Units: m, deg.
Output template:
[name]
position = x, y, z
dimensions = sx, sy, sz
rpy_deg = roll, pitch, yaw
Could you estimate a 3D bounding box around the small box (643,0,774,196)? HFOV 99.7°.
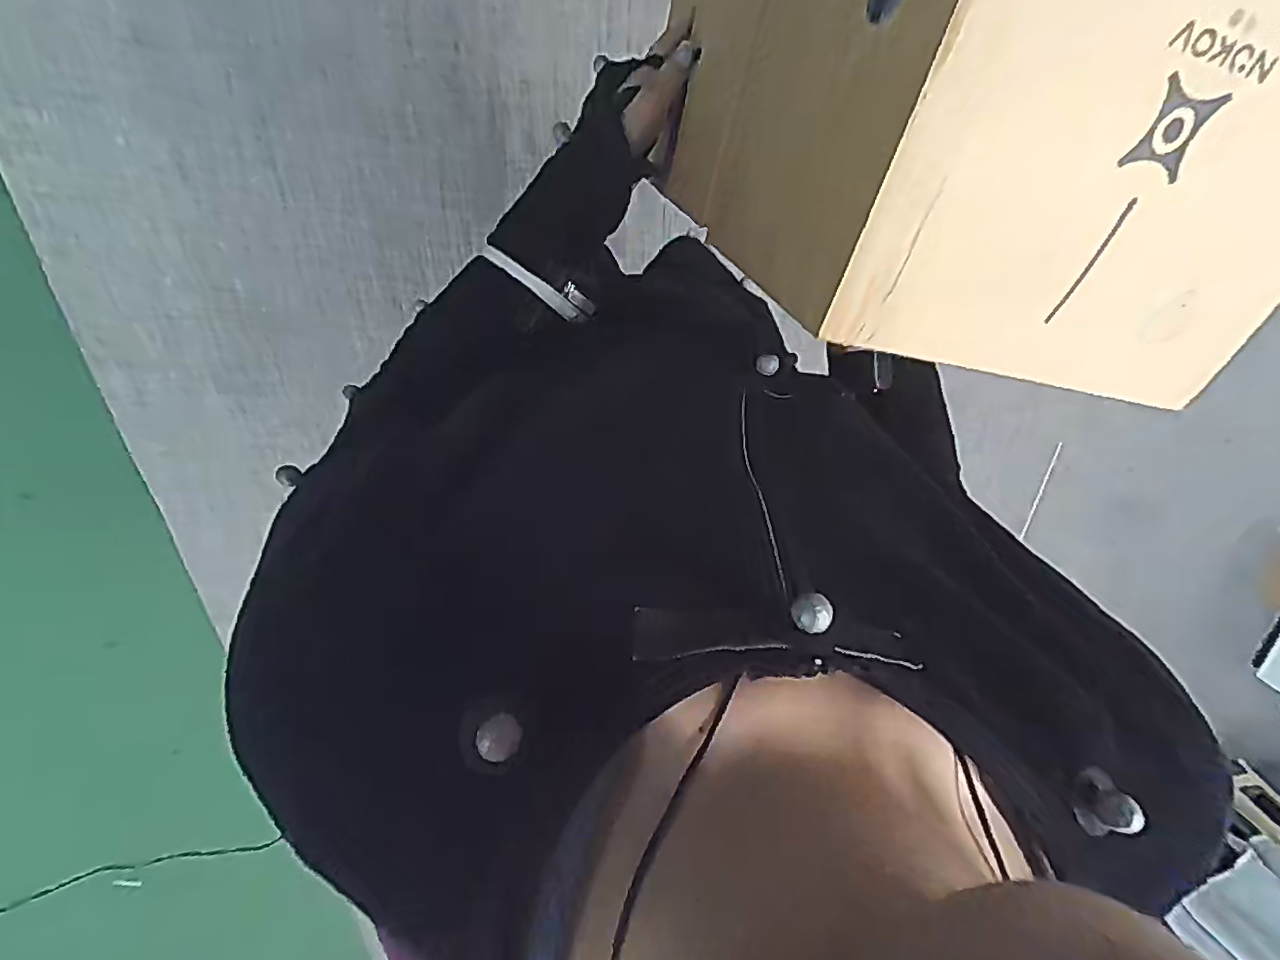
[small box]
position = 0.105, -0.355, 0.483
dimensions = 0.168, 0.176, 0.179
rpy_deg = 7, 123, -14
